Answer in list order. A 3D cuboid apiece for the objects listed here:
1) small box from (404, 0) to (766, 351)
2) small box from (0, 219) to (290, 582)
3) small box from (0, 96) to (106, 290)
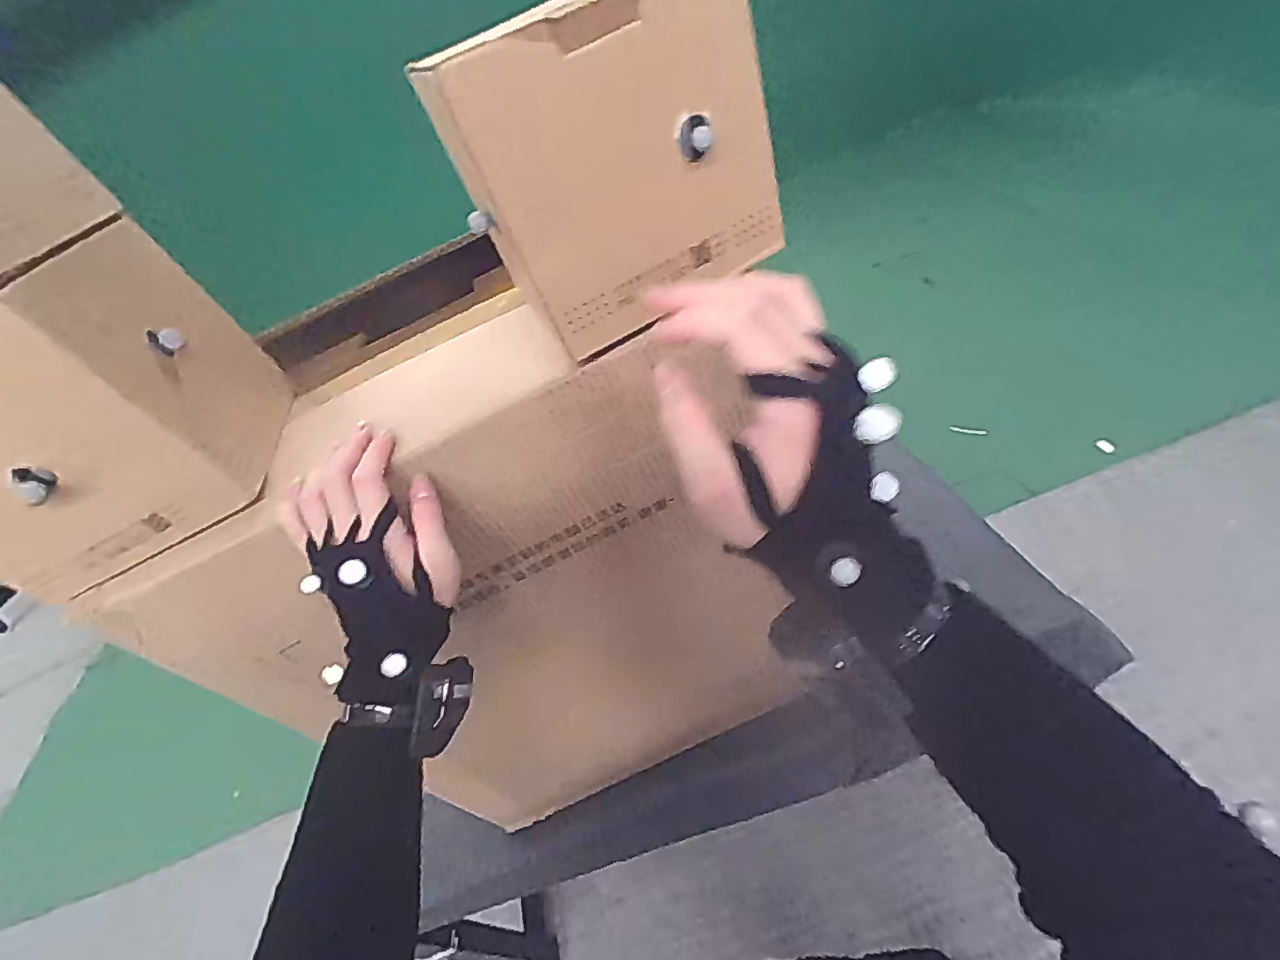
[{"bbox_3d":[-0.035,-0.212,0.369,0.168,0.176,0.179,-29,41,-5],"label":"small box"},{"bbox_3d":[-0.394,-0.050,0.391,0.168,0.176,0.179,-28,42,0],"label":"small box"},{"bbox_3d":[-0.451,-0.158,0.280,0.168,0.176,0.179,-28,43,1],"label":"small box"}]
